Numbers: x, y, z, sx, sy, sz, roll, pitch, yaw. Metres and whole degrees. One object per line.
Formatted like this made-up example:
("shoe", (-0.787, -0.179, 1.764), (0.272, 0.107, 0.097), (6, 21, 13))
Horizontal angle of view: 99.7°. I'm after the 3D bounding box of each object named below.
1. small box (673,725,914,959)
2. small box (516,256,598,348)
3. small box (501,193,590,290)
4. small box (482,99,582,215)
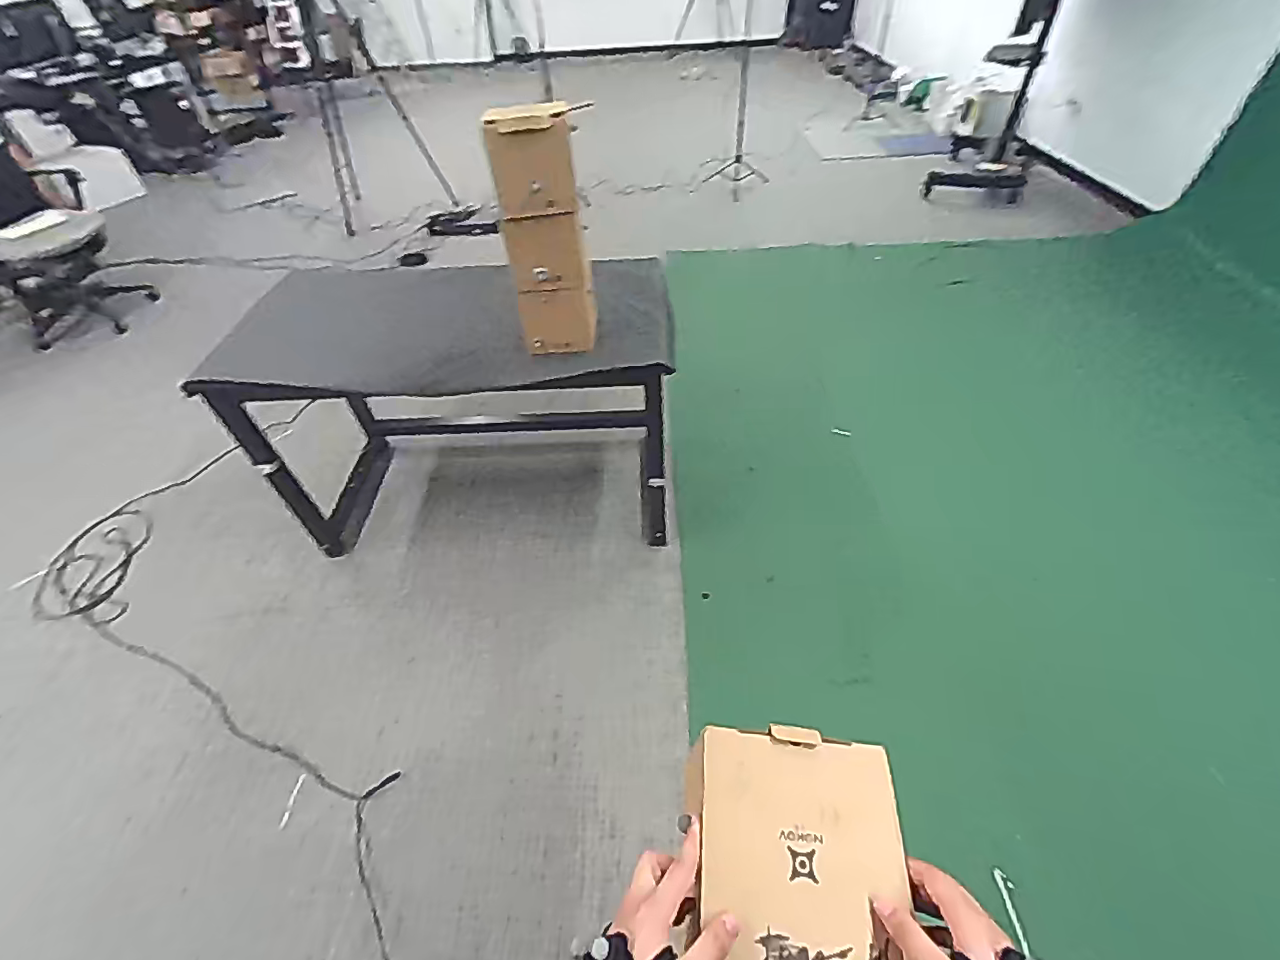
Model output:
("small box", (0.122, 0.347, 0.499), (0.168, 0.176, 0.179), (5, 53, 1))
("small box", (-0.199, -0.441, 1.355), (0.168, 0.176, 0.179), (-2, 43, 2))
("small box", (-0.208, -0.554, 1.238), (0.168, 0.176, 0.179), (-6, 45, 0))
("small box", (-0.215, -0.666, 1.117), (0.168, 0.176, 0.179), (-8, 44, -2))
